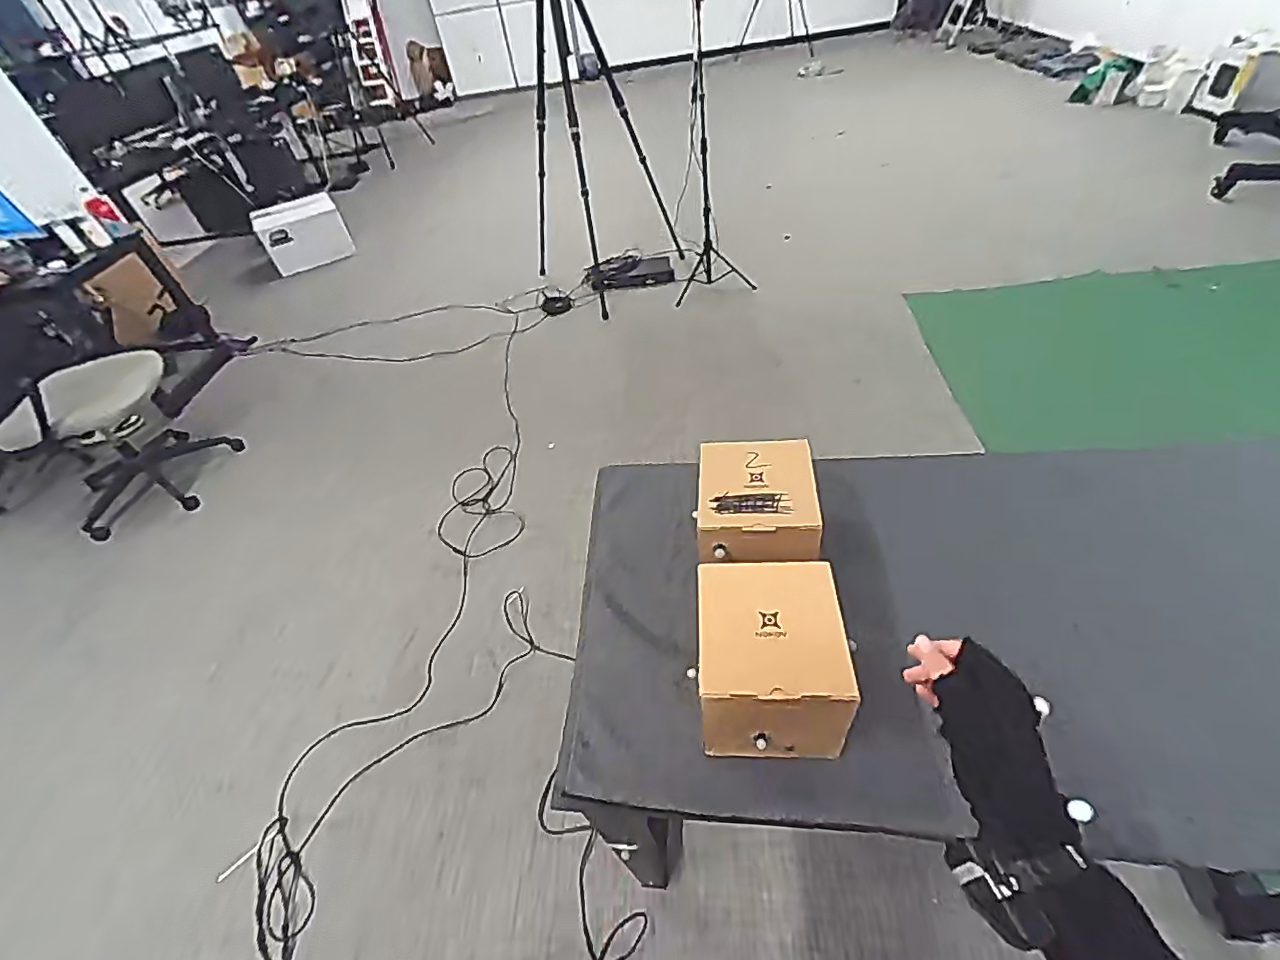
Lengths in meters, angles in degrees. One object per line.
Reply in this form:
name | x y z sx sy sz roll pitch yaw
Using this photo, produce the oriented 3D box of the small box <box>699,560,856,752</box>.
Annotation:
small box | 0.158 0.220 0.686 0.168 0.176 0.179 -2 45 7
